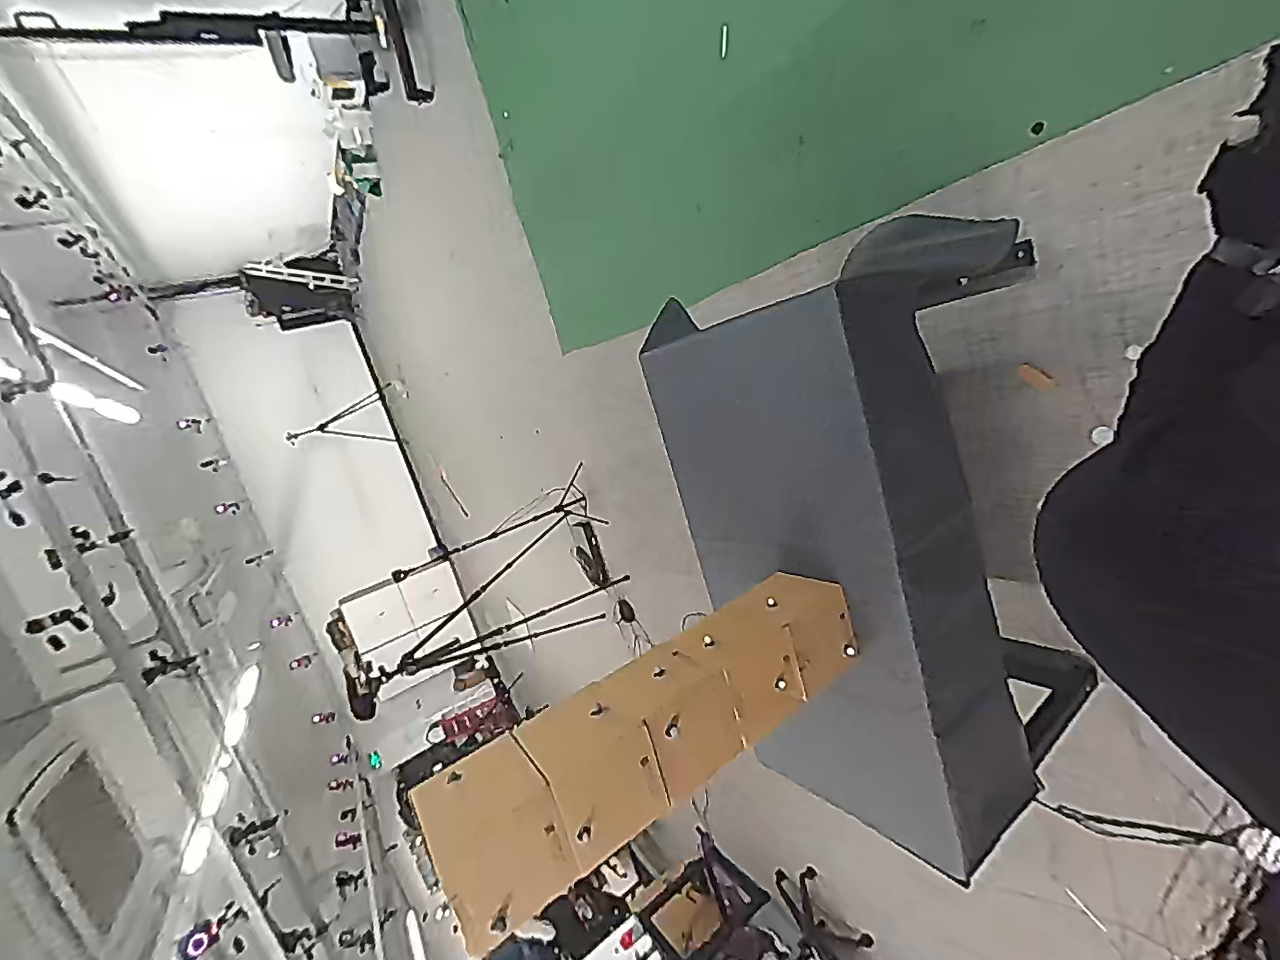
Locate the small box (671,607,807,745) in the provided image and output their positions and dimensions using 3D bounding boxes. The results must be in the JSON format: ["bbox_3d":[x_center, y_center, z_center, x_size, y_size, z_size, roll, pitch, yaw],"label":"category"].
[{"bbox_3d":[0.191,0.365,1.048,0.179,0.176,0.168,0,109,59],"label":"small box"}]

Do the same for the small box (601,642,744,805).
[{"bbox_3d":[0.059,0.417,0.964,0.168,0.176,0.179,3,112,58],"label":"small box"}]

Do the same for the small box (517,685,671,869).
[{"bbox_3d":[-0.075,0.466,0.884,0.179,0.176,0.168,5,113,58],"label":"small box"}]

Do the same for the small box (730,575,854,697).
[{"bbox_3d":[0.322,0.312,1.127,0.179,0.176,0.168,0,109,60],"label":"small box"}]
